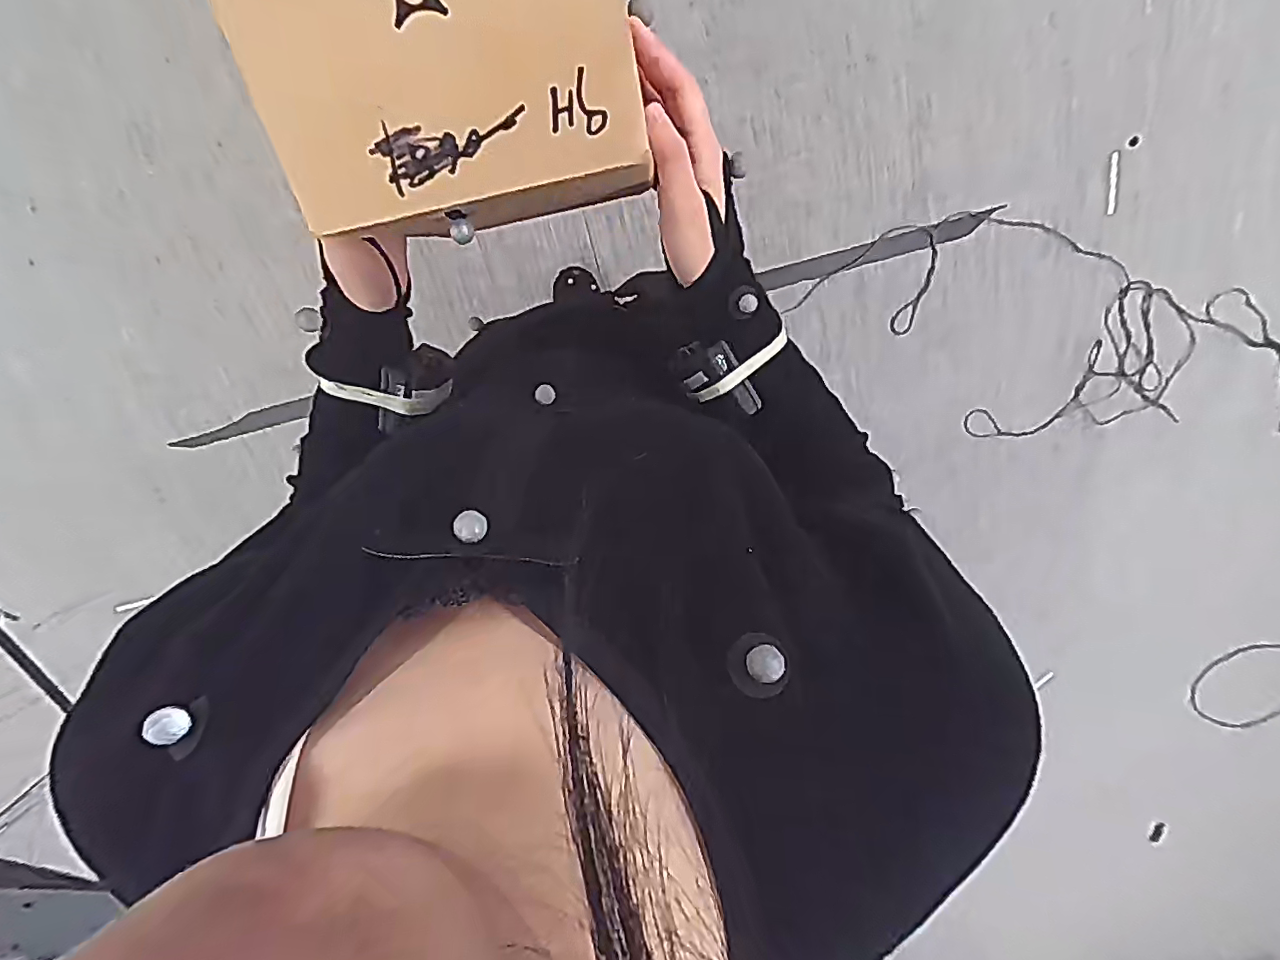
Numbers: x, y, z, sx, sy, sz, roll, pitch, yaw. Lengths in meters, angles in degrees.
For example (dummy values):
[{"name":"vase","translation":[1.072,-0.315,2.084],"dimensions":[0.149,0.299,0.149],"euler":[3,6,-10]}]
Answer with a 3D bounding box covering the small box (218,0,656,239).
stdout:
[{"name":"small box","translation":[-0.087,-0.235,0.285],"dimensions":[0.168,0.176,0.179],"euler":[-9,113,7]}]
